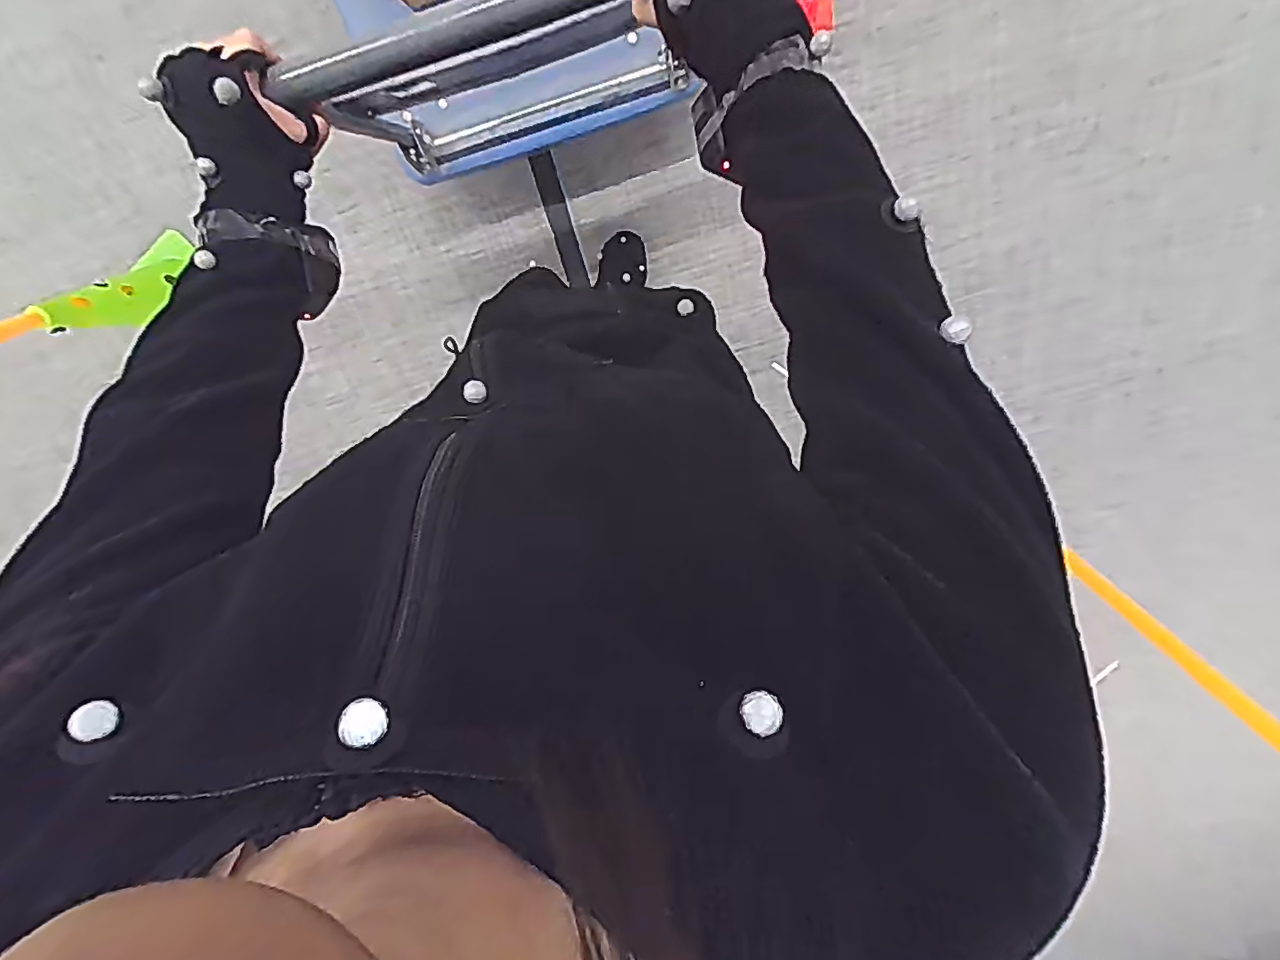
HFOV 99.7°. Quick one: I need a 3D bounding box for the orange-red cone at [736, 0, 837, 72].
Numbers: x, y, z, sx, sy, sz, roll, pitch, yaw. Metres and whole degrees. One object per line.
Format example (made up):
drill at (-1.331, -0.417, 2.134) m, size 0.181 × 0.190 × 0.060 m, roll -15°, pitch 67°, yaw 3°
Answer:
orange-red cone at (0.289, -0.851, 0.898) m, size 0.199 × 0.360 × 0.198 m, roll -10°, pitch 116°, yaw 2°
